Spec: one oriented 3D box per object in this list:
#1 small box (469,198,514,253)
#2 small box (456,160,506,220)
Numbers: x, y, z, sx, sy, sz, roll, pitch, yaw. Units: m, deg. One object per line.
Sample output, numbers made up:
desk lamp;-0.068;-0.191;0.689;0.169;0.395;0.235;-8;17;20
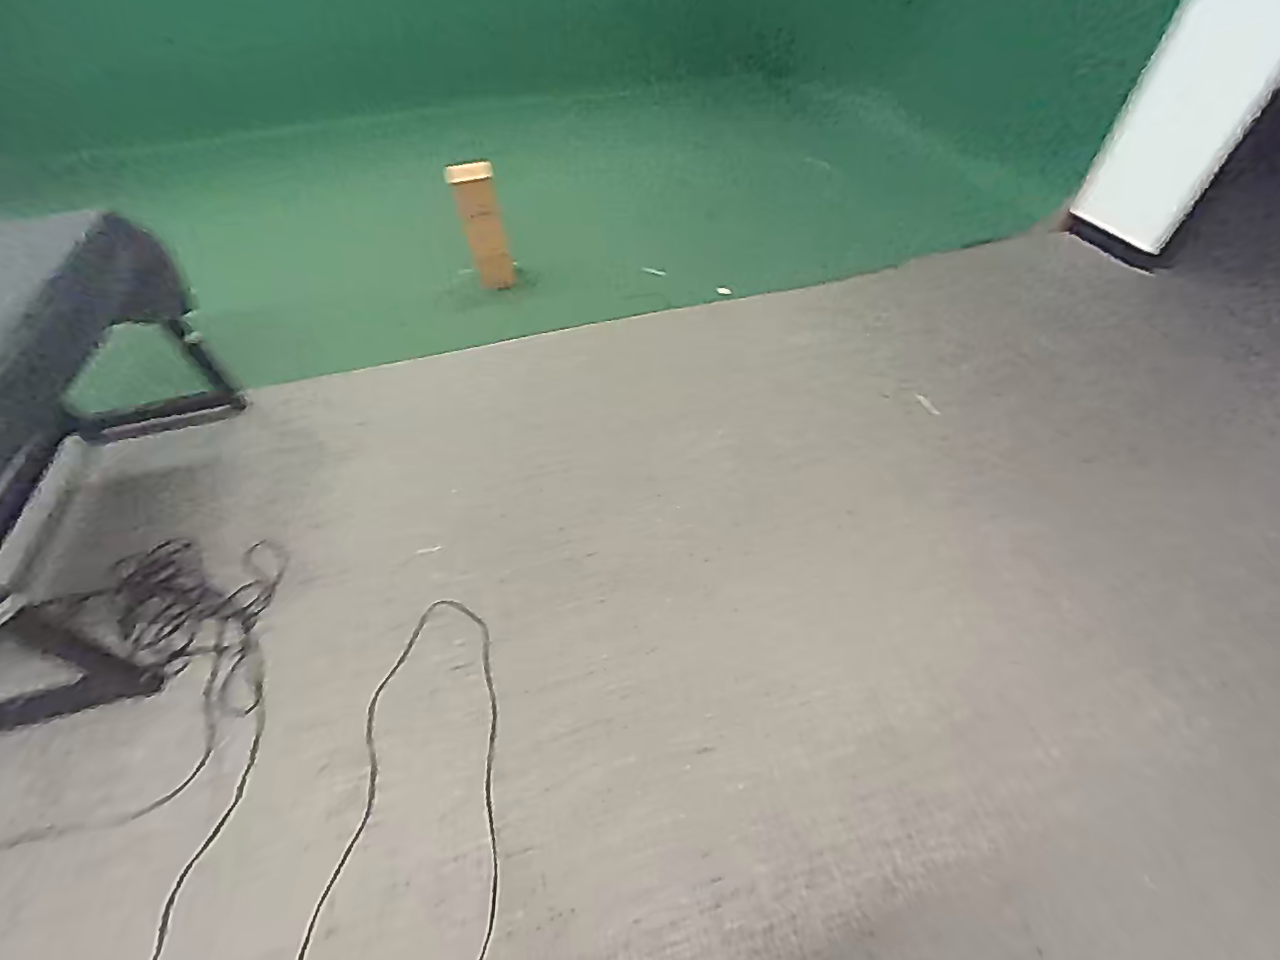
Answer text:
small box;-0.671;-1.143;2.446;0.168;0.176;0.179;-12;50;-6
small box;-0.682;-1.242;2.316;0.168;0.176;0.179;-14;51;-7
